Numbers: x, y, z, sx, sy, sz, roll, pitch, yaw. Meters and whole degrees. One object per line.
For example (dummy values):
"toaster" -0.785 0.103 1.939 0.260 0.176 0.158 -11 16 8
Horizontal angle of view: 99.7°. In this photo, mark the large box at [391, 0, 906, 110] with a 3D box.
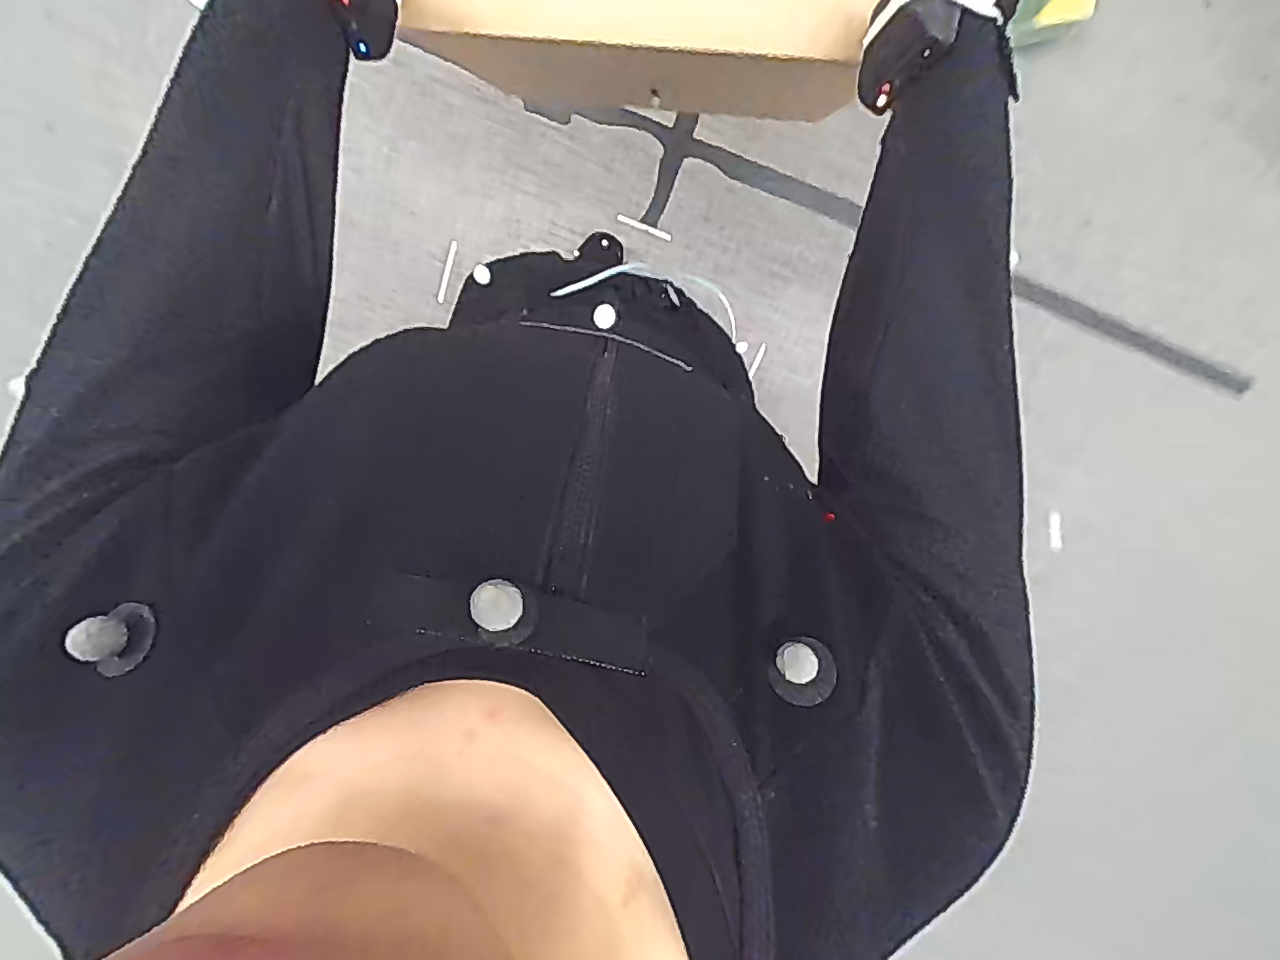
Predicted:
"large box" 0.022 -0.546 0.489 0.408 0.320 0.320 6 116 3
